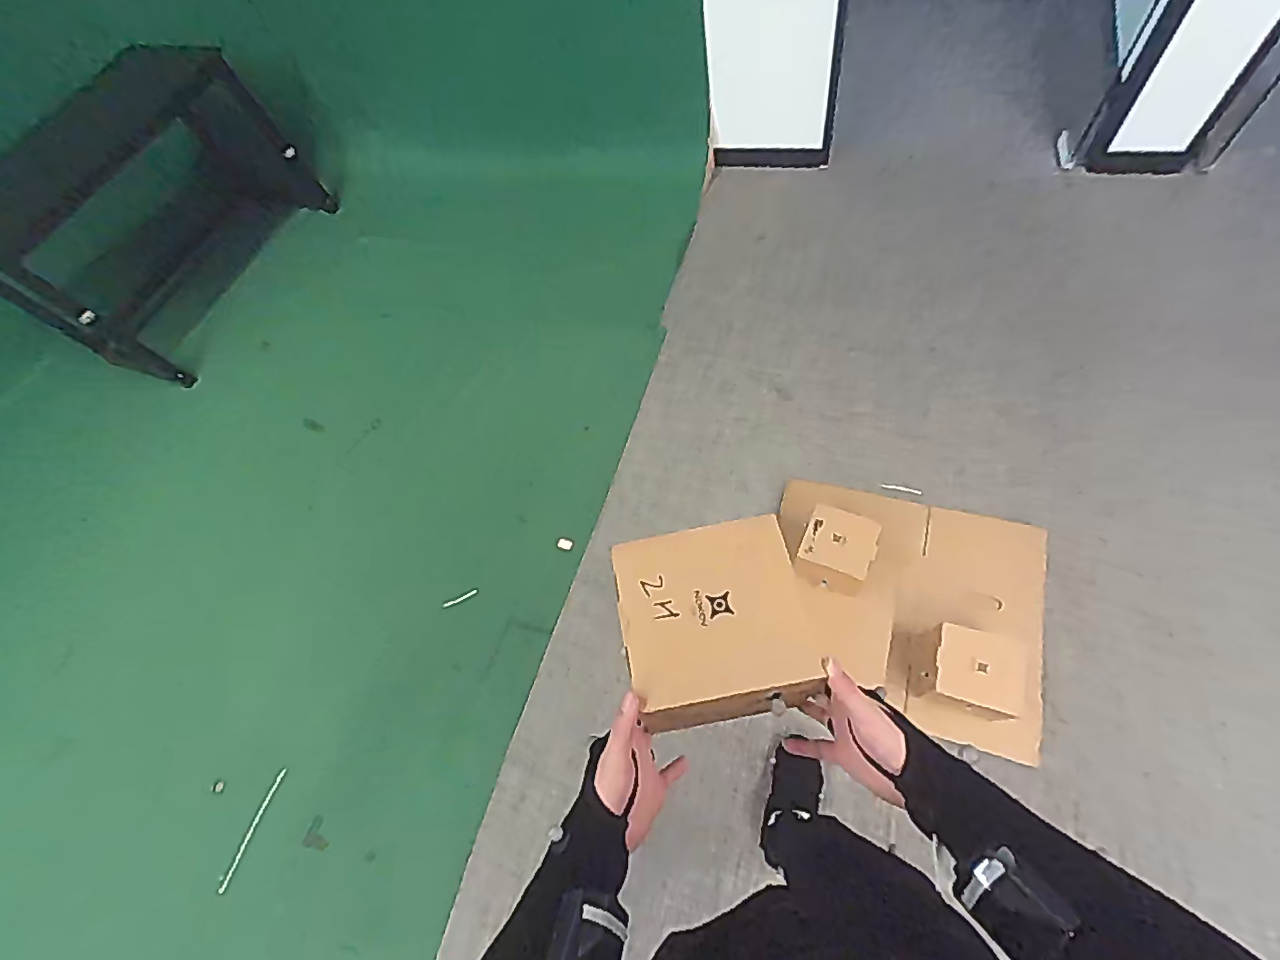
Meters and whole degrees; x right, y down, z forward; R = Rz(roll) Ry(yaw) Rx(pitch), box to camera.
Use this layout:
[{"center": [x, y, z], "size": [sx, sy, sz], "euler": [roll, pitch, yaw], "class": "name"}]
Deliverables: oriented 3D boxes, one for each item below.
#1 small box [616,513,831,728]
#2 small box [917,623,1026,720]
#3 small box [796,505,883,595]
[{"center": [0.079, 0.158, 0.582], "size": [0.179, 0.176, 0.168], "euler": [-11, 58, 0], "class": "small box"}, {"center": [0.780, 0.460, 1.286], "size": [0.179, 0.176, 0.168], "euler": [13, 68, 18], "class": "small box"}, {"center": [0.531, 0.197, 1.467], "size": [0.179, 0.176, 0.168], "euler": [21, 70, 20], "class": "small box"}]
